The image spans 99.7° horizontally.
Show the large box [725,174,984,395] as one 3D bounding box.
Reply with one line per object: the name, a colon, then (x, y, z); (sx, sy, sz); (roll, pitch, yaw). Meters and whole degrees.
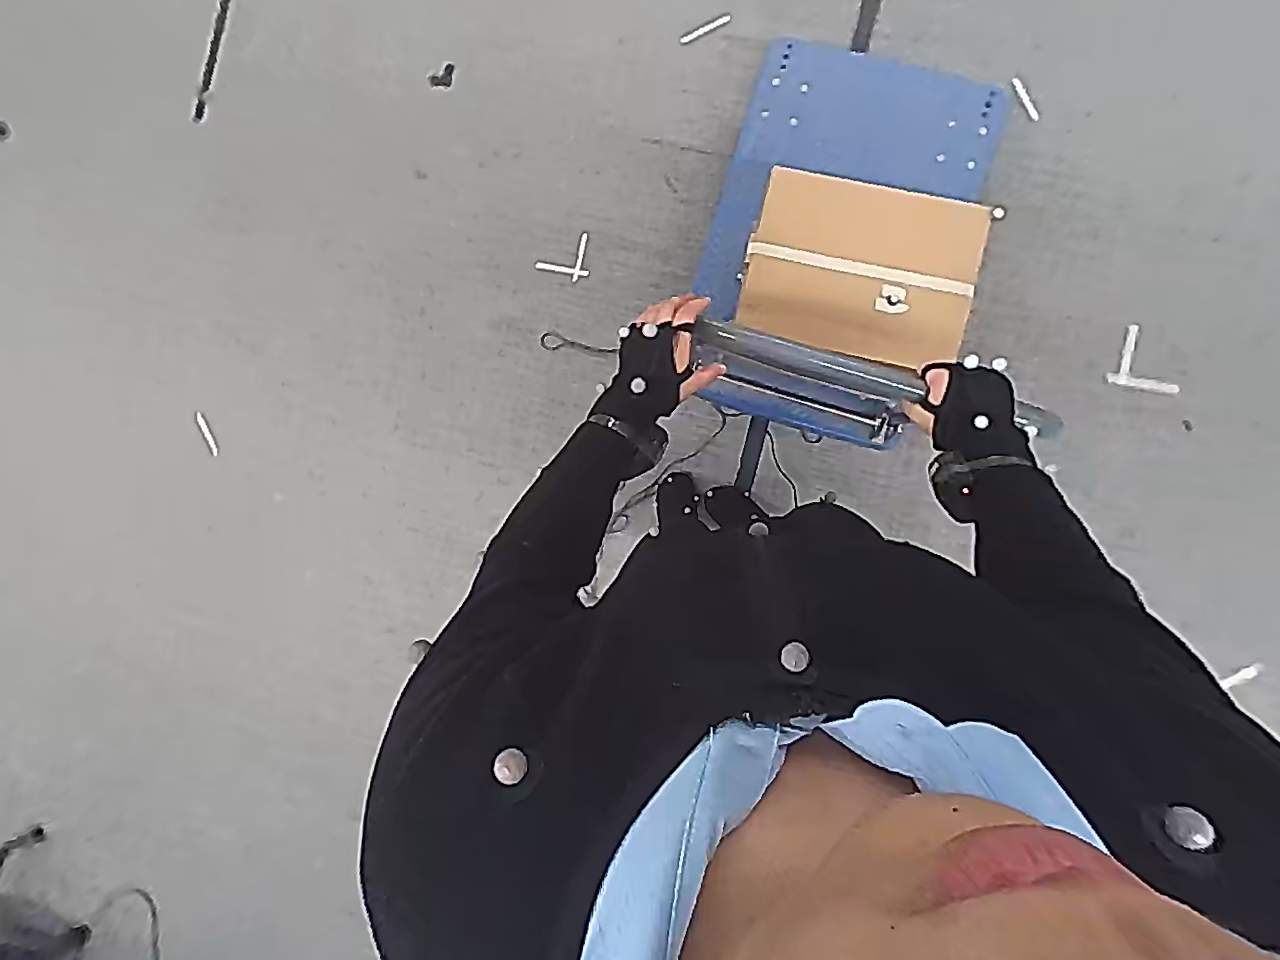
large box: (0.418, -0.391, 1.157); (0.408, 0.320, 0.320); (13, 93, 4)
